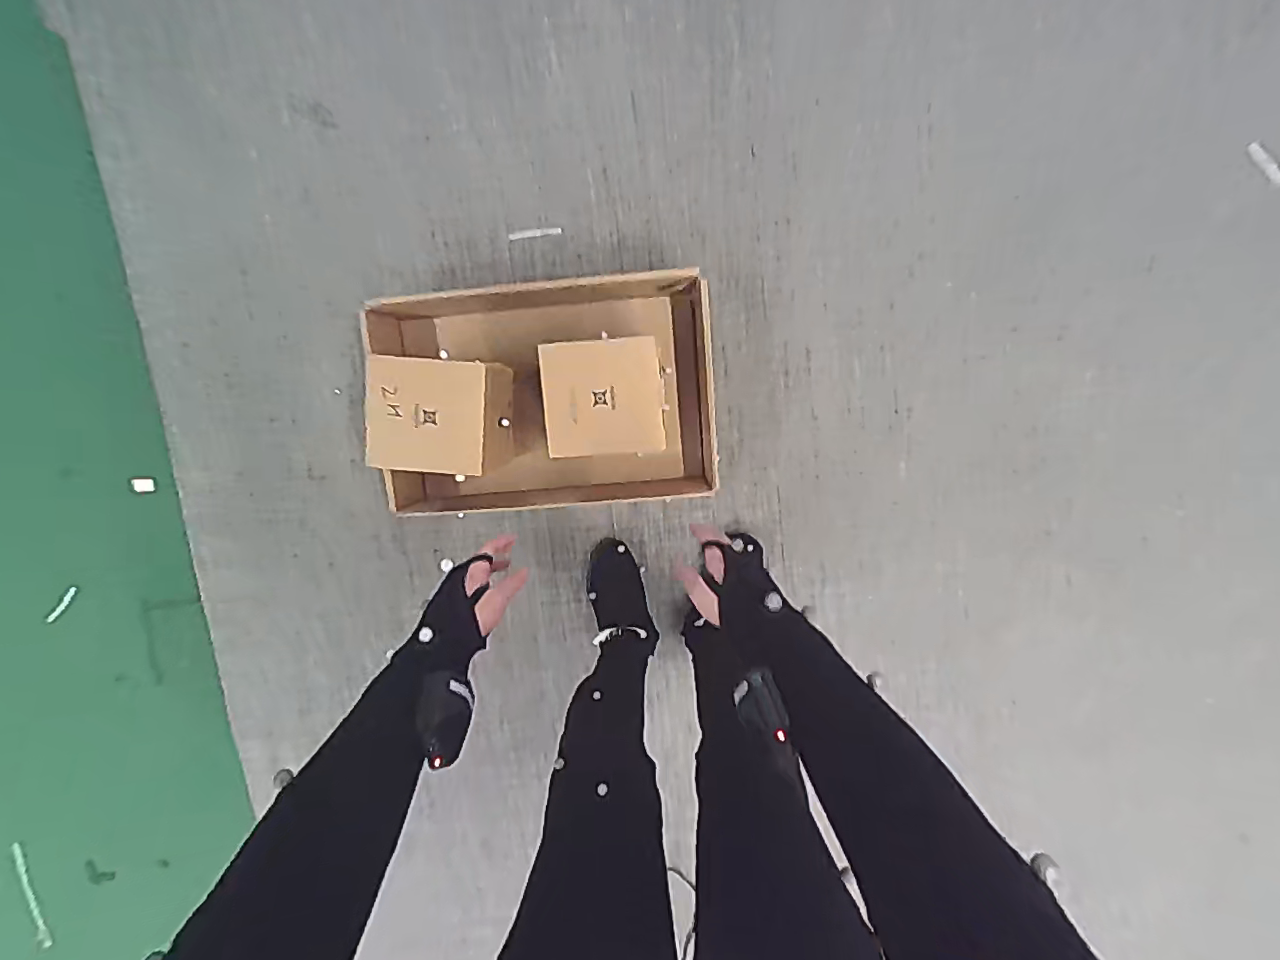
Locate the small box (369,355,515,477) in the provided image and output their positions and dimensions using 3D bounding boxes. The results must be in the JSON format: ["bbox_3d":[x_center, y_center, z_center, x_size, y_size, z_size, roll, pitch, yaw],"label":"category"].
[{"bbox_3d":[-0.306,-0.104,0.864,0.179,0.176,0.168,5,98,1],"label":"small box"}]
